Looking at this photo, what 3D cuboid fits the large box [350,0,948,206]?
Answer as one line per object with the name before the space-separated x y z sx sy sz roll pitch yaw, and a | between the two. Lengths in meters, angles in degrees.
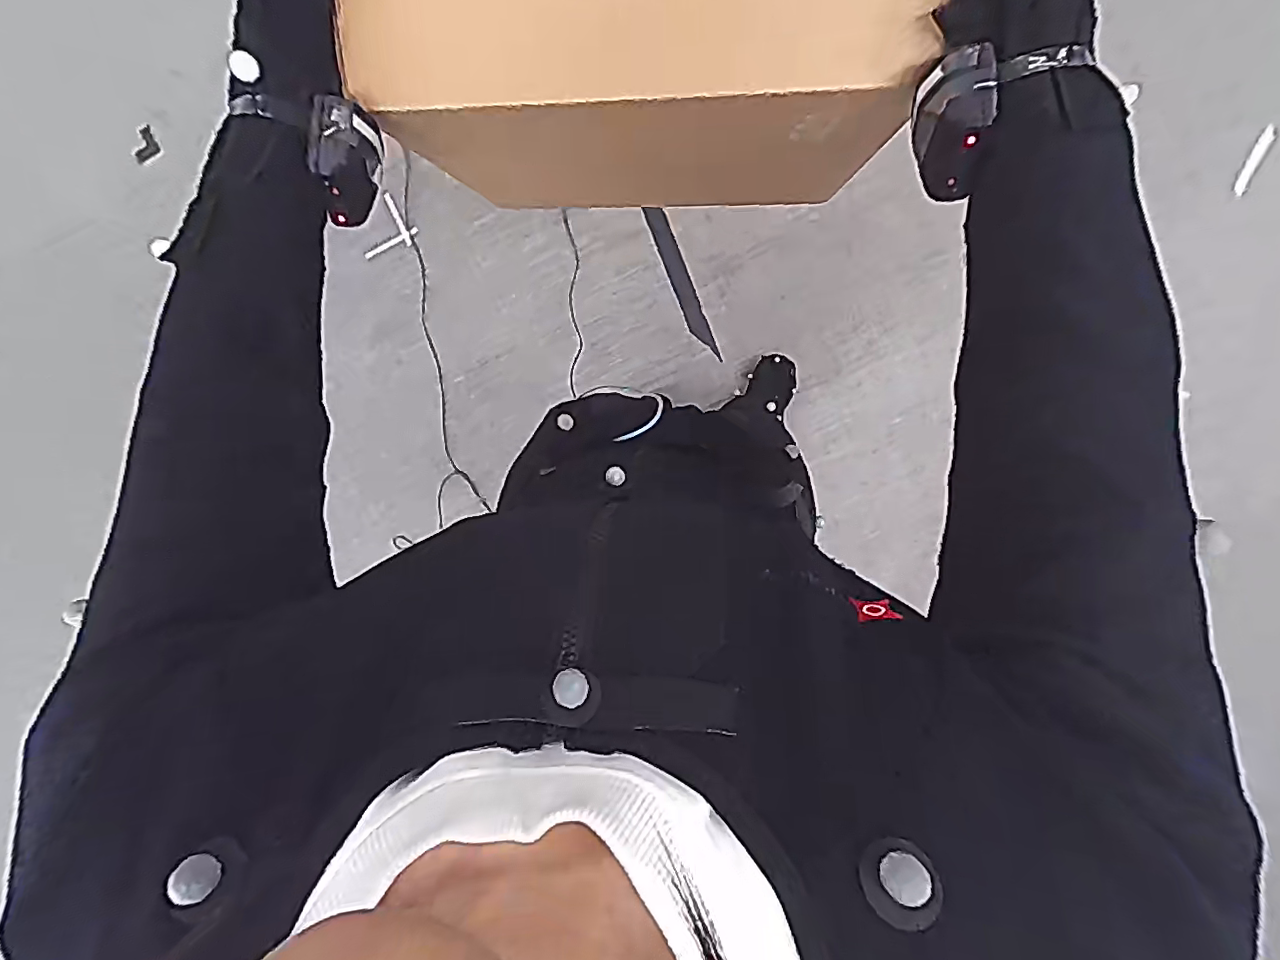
large box | 0.005 -0.454 0.477 0.408 0.320 0.320 0 106 5
